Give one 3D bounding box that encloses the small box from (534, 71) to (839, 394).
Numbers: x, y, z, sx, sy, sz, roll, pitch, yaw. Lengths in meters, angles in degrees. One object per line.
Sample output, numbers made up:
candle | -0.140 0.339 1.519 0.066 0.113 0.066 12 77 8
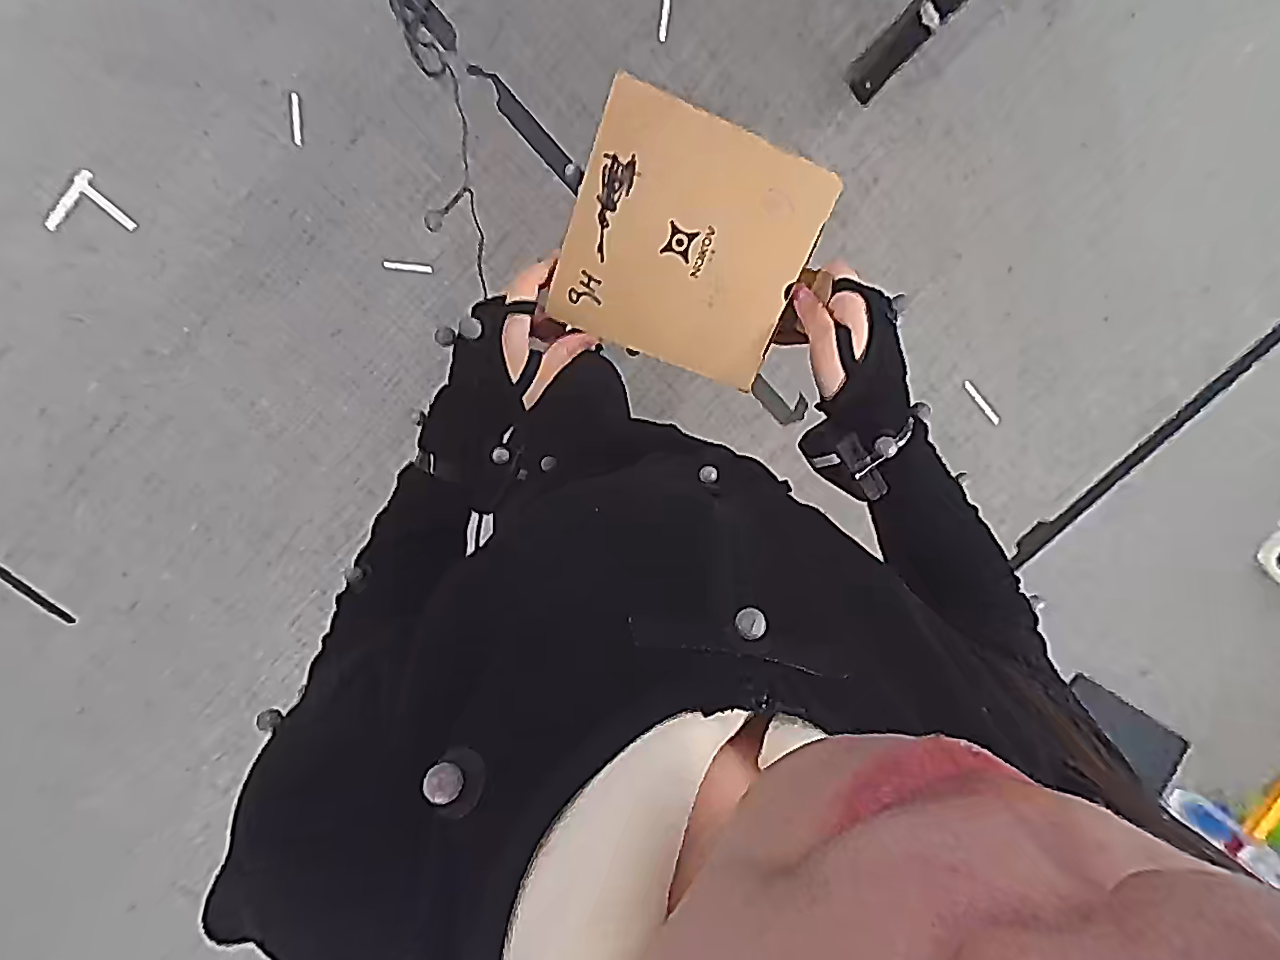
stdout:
small box | 0.024 -0.193 0.456 0.179 0.176 0.168 18 108 -12
